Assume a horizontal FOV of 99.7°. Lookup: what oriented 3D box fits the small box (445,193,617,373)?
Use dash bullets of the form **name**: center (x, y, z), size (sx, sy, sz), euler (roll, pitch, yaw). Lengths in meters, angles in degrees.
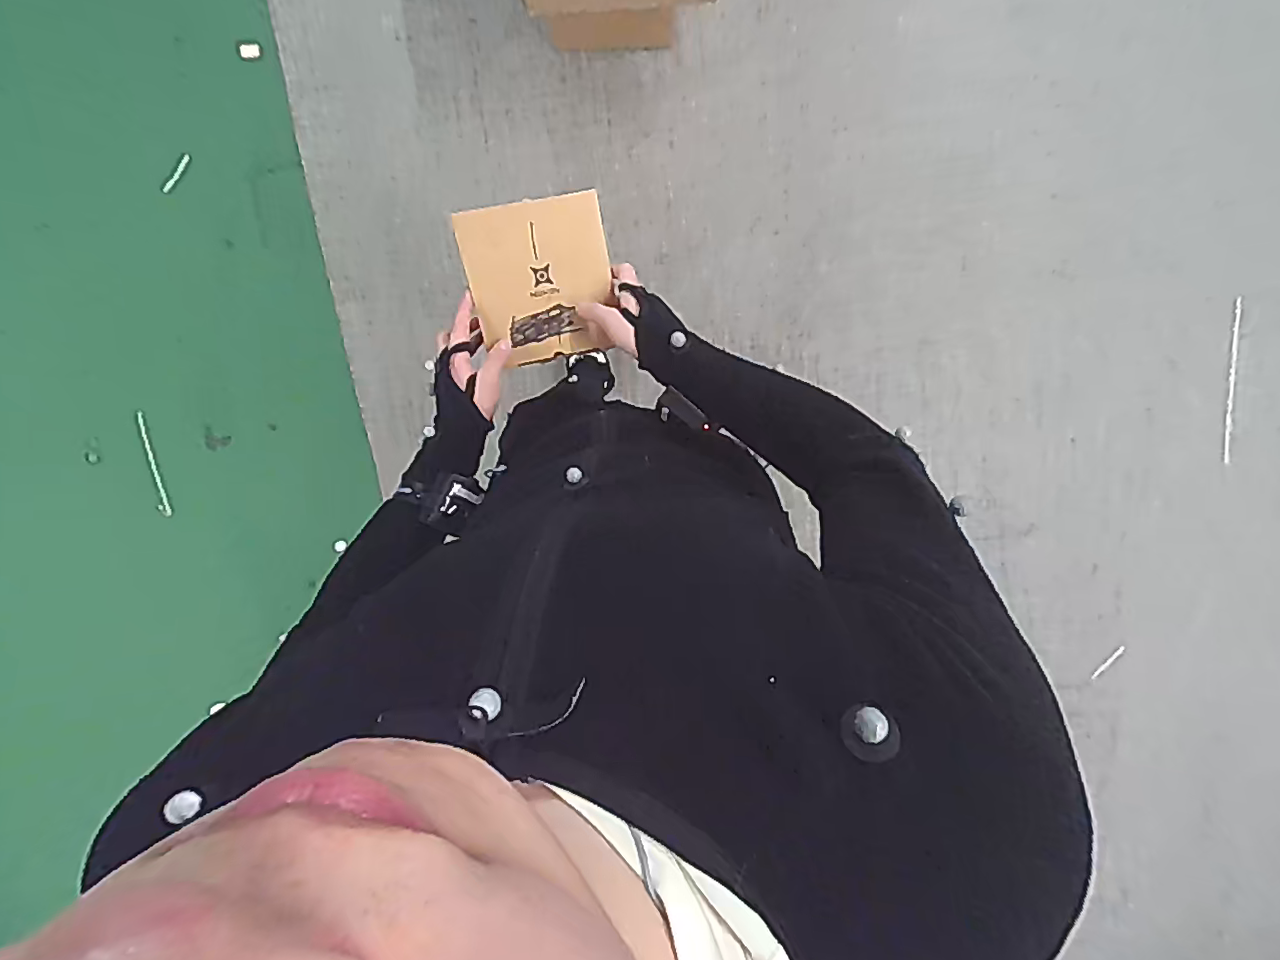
- **small box**: center (-0.134, -0.248, 0.694), size (0.168, 0.176, 0.179), euler (-14, 110, -8)
